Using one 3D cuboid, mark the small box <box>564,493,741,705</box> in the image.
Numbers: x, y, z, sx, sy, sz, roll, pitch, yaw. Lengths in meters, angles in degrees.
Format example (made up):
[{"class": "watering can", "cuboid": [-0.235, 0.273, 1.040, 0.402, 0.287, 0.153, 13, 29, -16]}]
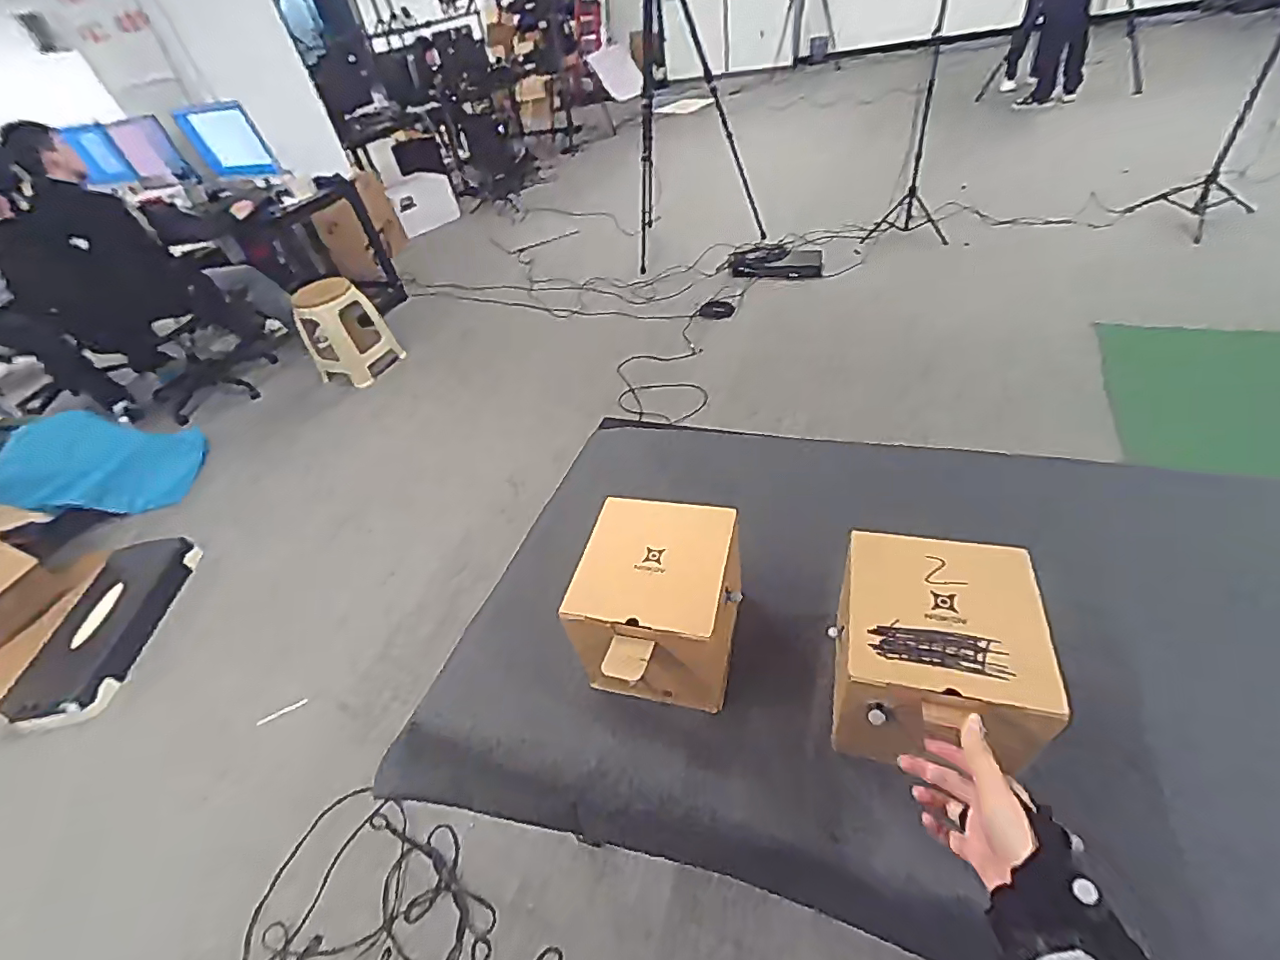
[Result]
[{"class": "small box", "cuboid": [0.028, 0.141, 0.658, 0.168, 0.176, 0.179, 5, 46, 17]}]
